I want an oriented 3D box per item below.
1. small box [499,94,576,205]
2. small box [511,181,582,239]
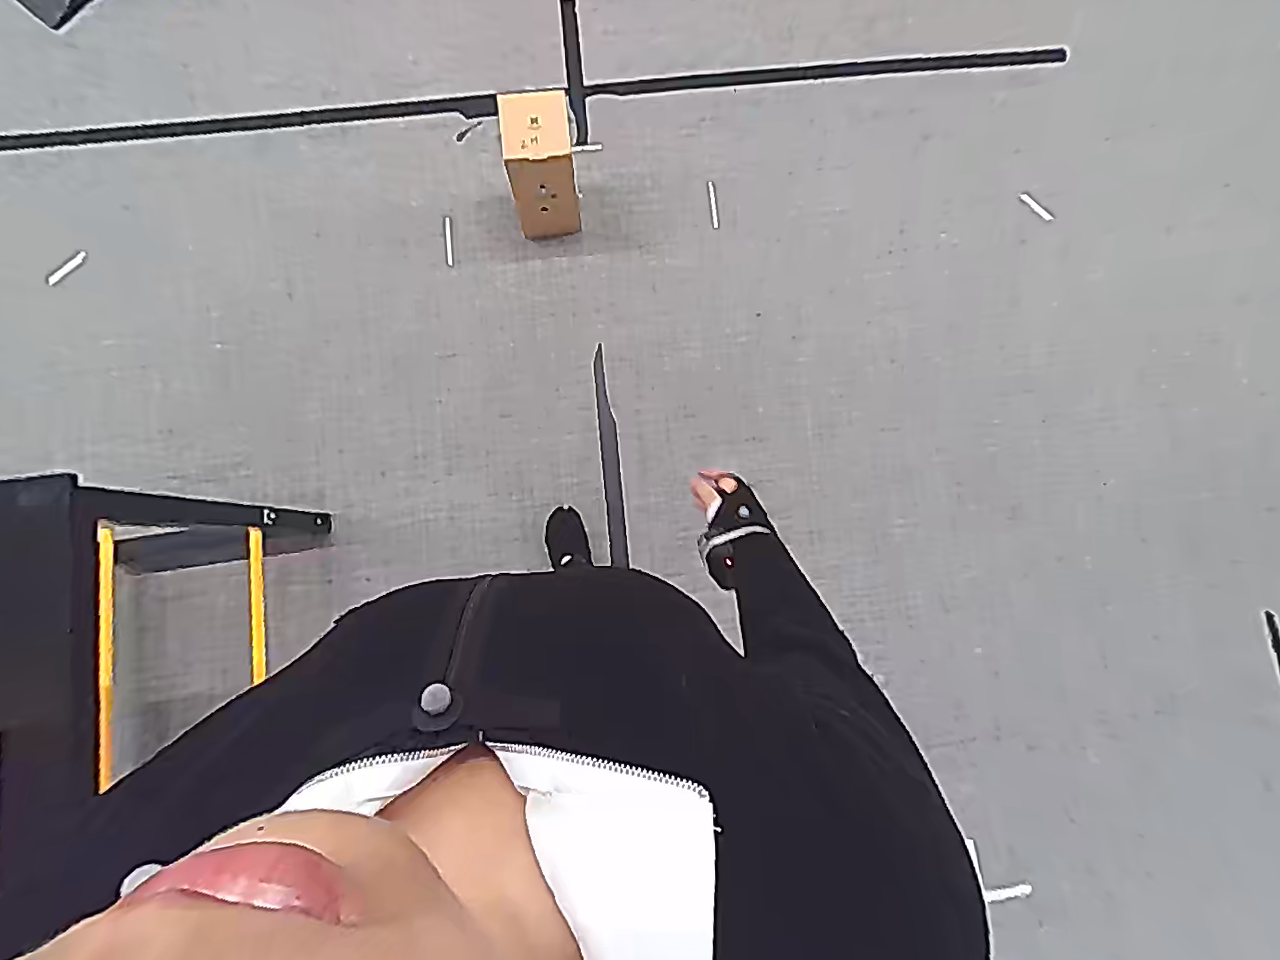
[{"bbox_3d":[-0.255,-0.834,1.375,0.168,0.176,0.179,-6,83,-3],"label":"small box"},{"bbox_3d":[-0.267,-0.811,1.538,0.179,0.176,0.168,-10,83,-4],"label":"small box"}]
